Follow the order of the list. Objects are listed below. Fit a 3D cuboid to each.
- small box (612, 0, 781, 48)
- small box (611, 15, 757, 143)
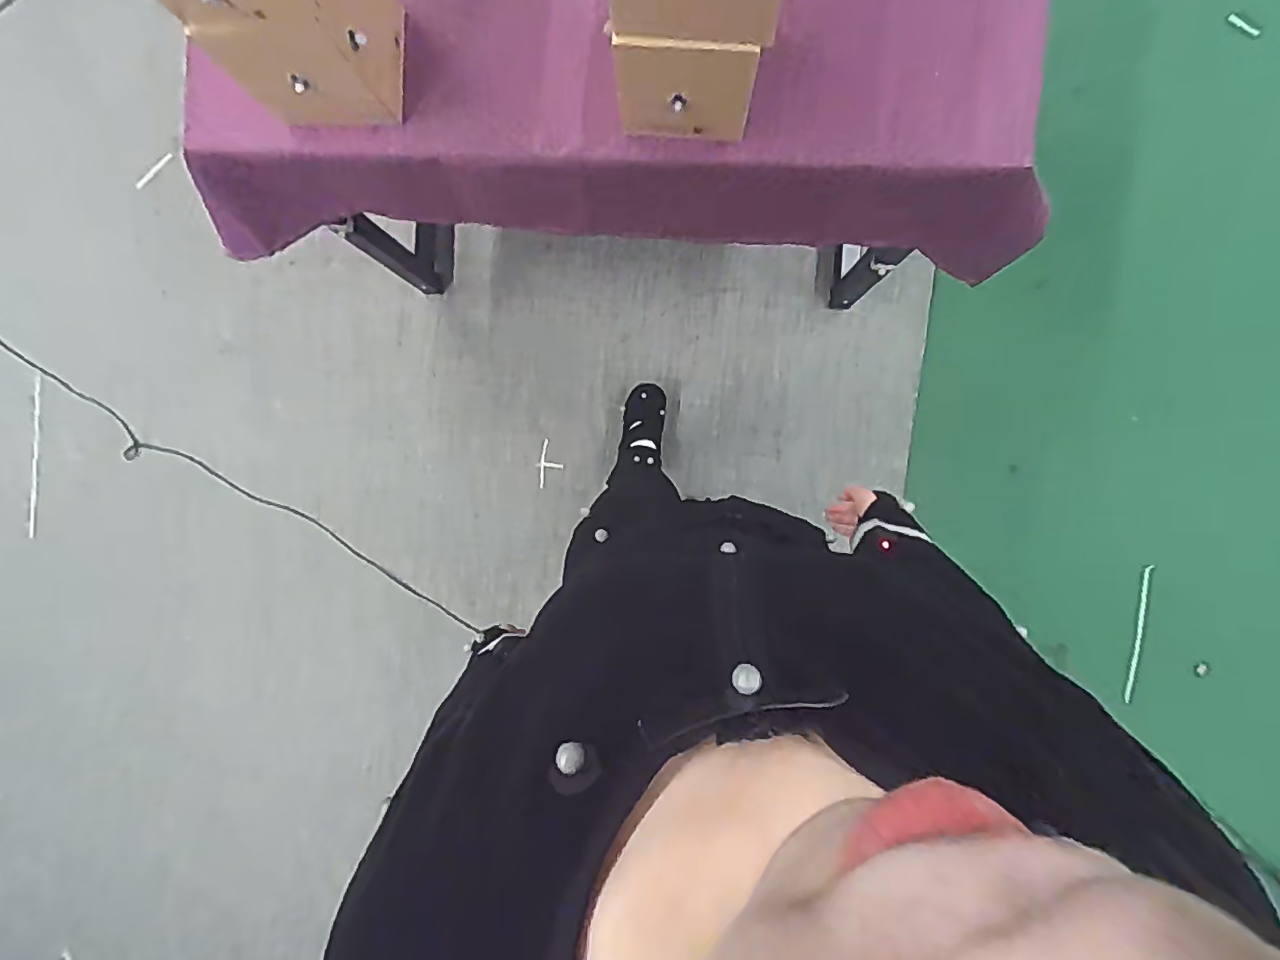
[{"bbox_3d":[0.062,-0.553,0.508,0.179,0.176,0.168,7,92,2],"label":"small box"},{"bbox_3d":[0.062,-0.556,0.673,0.168,0.176,0.179,6,92,2],"label":"small box"}]
